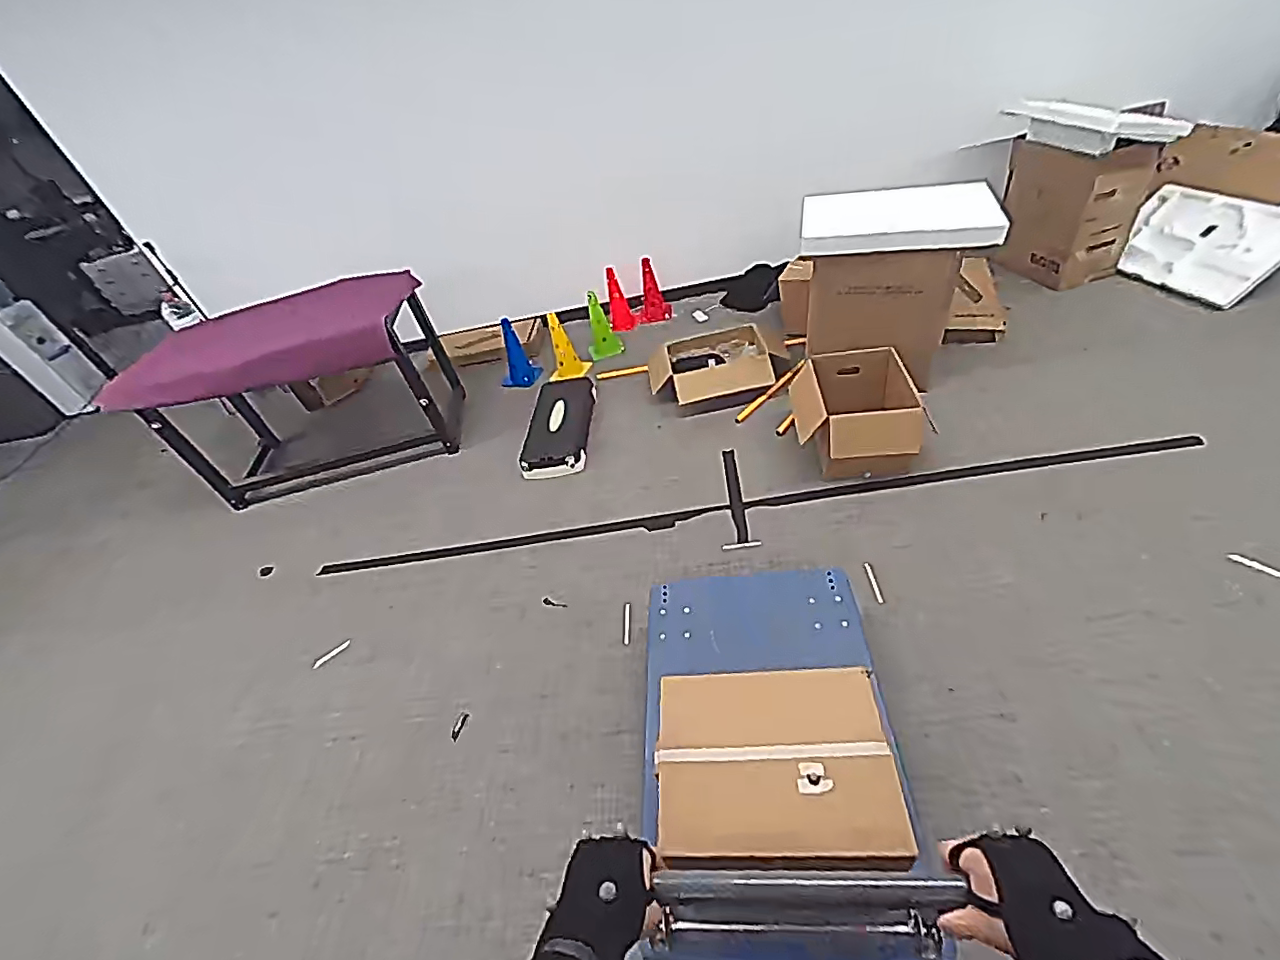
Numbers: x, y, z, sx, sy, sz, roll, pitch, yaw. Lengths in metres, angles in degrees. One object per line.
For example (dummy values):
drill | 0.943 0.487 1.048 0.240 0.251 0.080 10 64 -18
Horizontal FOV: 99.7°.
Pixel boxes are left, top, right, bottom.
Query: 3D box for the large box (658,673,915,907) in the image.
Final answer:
large box | 0.254 0.604 1.051 0.408 0.320 0.320 -6 42 9
